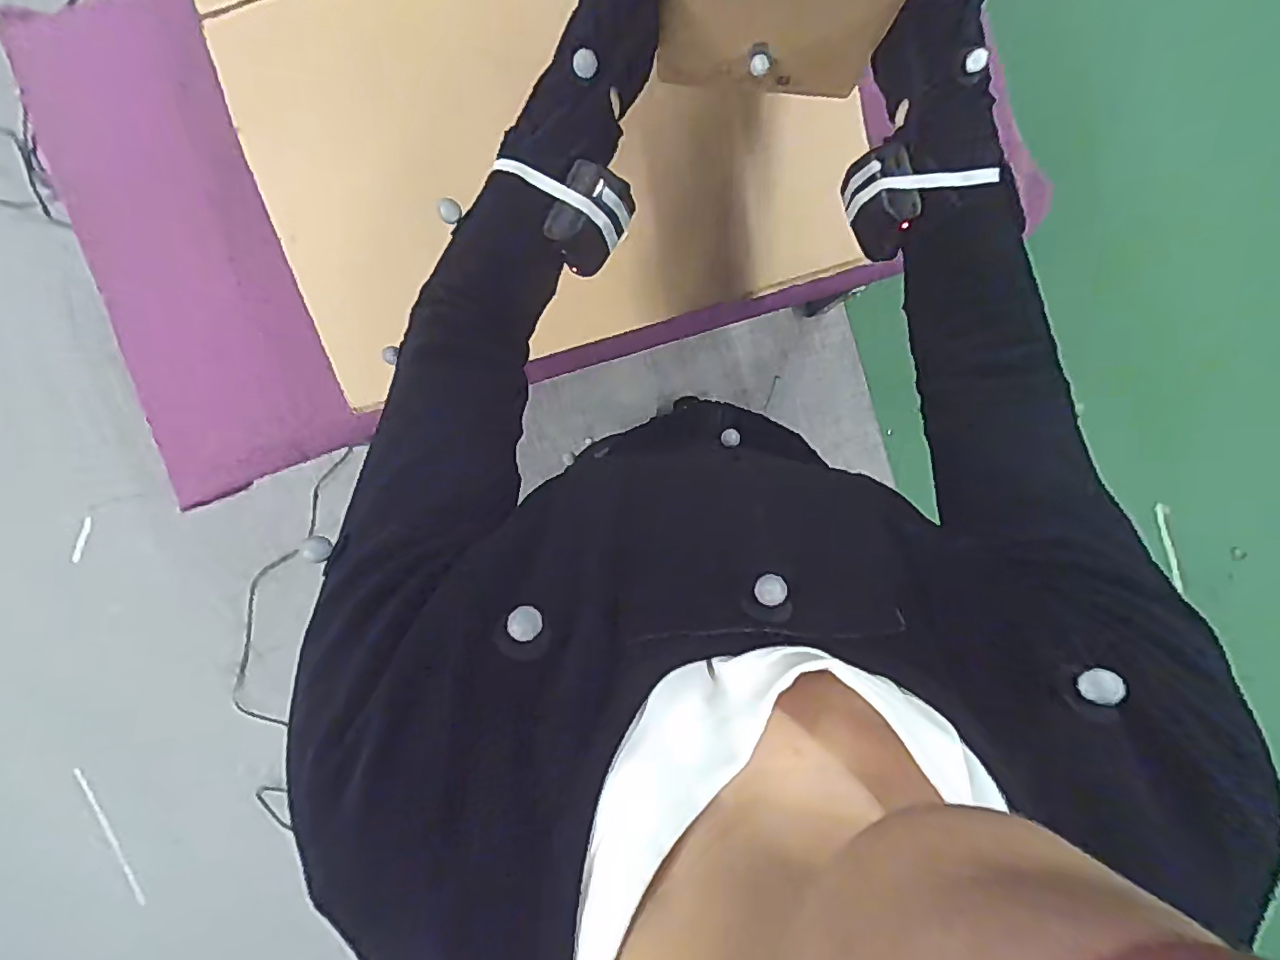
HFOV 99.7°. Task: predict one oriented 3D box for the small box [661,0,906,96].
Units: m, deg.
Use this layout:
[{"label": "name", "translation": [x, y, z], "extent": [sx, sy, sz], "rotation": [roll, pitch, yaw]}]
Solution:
[{"label": "small box", "translation": [0.105, -0.410, 0.370], "extent": [0.168, 0.176, 0.179], "rotation": [8, 100, 2]}]
